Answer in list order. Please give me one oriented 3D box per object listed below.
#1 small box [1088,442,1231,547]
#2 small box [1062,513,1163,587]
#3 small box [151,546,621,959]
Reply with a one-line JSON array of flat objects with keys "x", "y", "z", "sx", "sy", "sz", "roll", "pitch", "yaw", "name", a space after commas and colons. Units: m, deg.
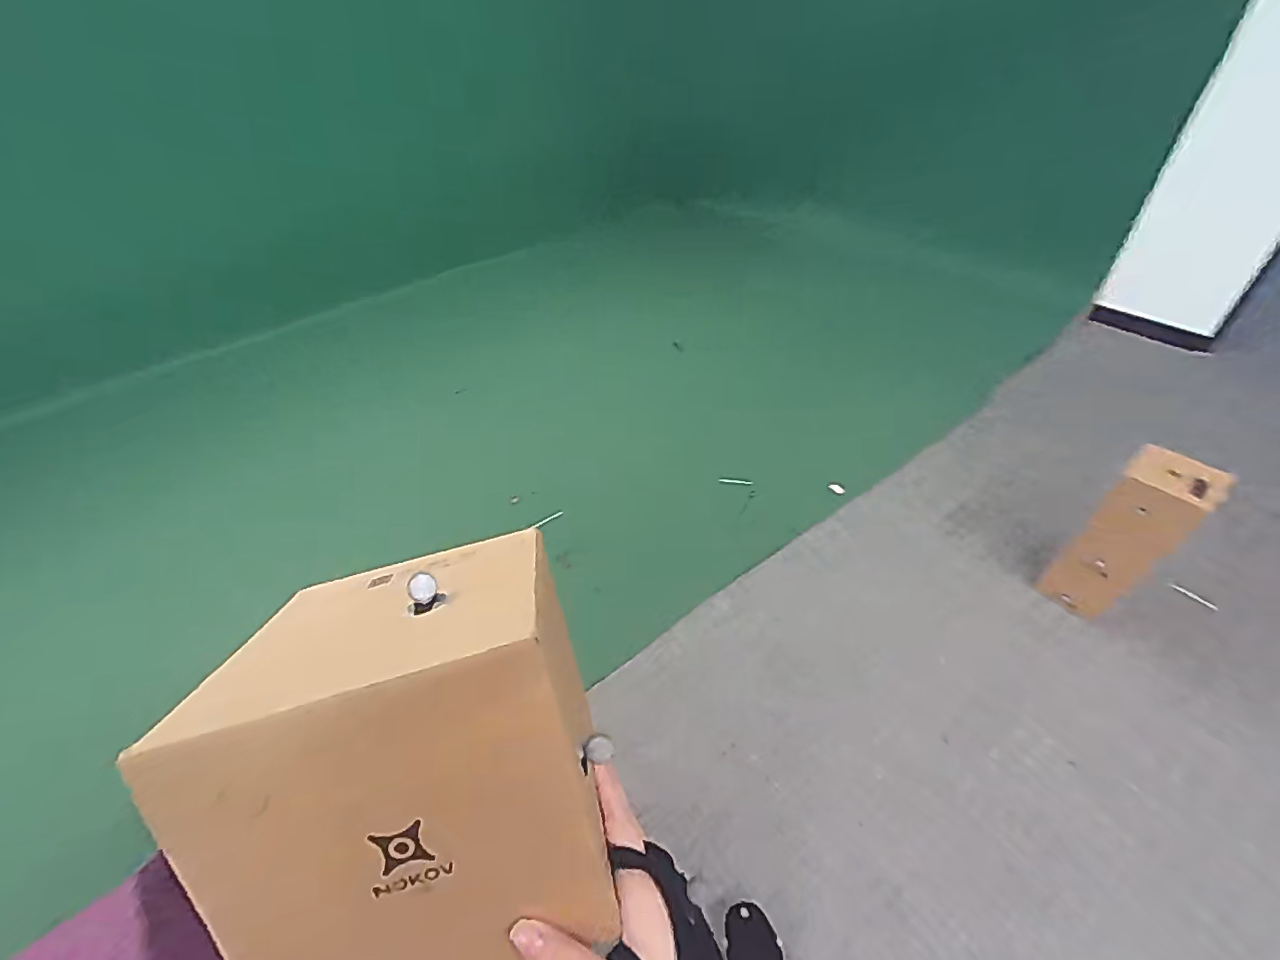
[{"x": 1.284, "y": 0.041, "z": 1.348, "sx": 0.168, "sy": 0.176, "sz": 0.179, "roll": -32, "pitch": 49, "yaw": -23, "name": "small box"}, {"x": 1.299, "y": 0.152, "z": 1.469, "sx": 0.179, "sy": 0.176, "sz": 0.168, "roll": -34, "pitch": 50, "yaw": -24, "name": "small box"}, {"x": -0.120, "y": 0.153, "z": 0.327, "sx": 0.168, "sy": 0.179, "sz": 0.176, "roll": -15, "pitch": 15, "yaw": -7, "name": "small box"}]
